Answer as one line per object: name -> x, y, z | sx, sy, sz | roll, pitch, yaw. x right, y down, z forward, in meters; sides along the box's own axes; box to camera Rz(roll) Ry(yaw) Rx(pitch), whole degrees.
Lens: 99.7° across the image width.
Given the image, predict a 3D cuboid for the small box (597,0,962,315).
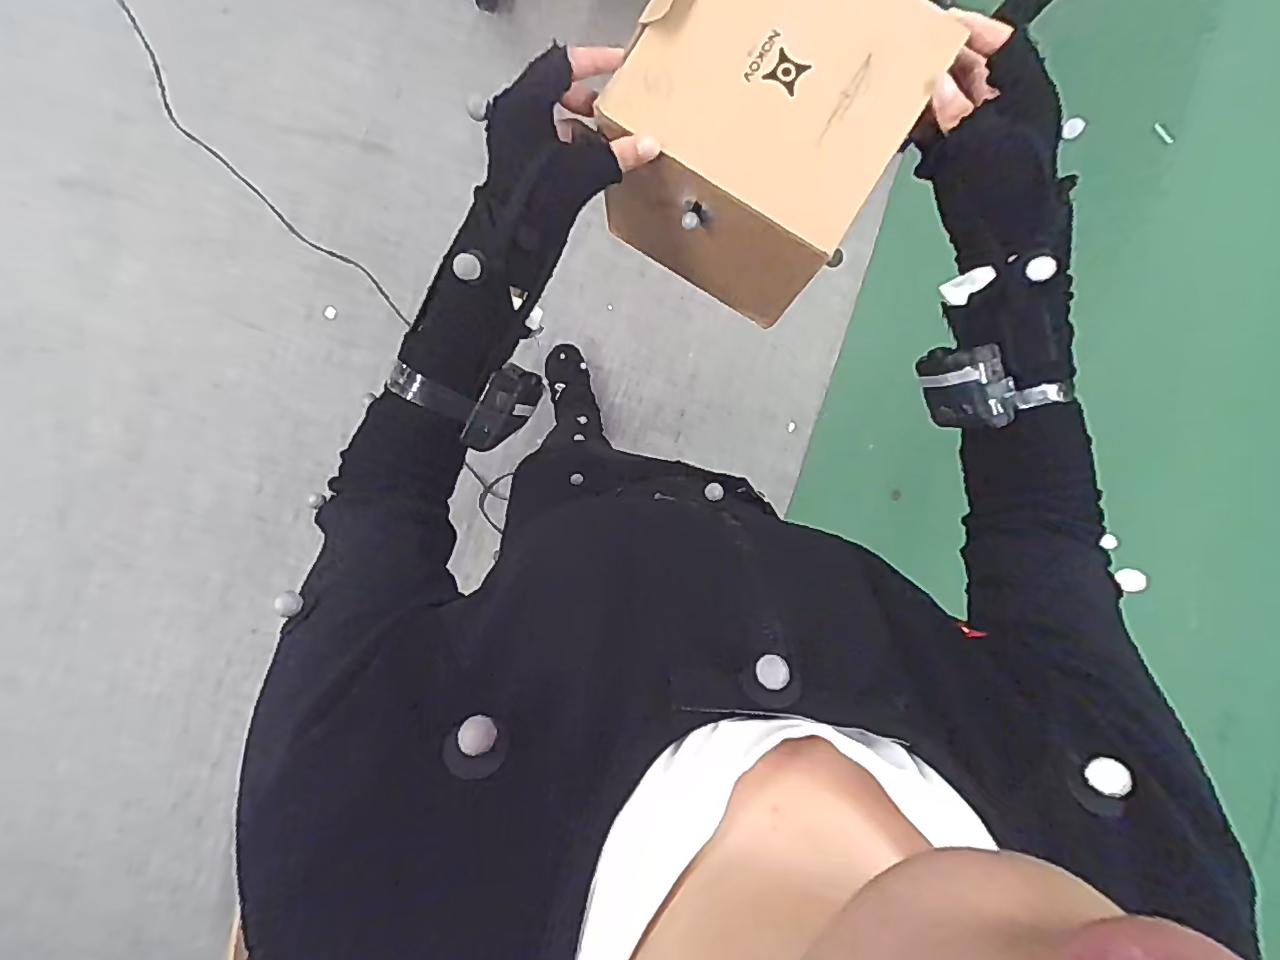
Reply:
small box -> 0.086, -0.253, 0.416 | 0.179, 0.176, 0.168 | 32, 90, -1
